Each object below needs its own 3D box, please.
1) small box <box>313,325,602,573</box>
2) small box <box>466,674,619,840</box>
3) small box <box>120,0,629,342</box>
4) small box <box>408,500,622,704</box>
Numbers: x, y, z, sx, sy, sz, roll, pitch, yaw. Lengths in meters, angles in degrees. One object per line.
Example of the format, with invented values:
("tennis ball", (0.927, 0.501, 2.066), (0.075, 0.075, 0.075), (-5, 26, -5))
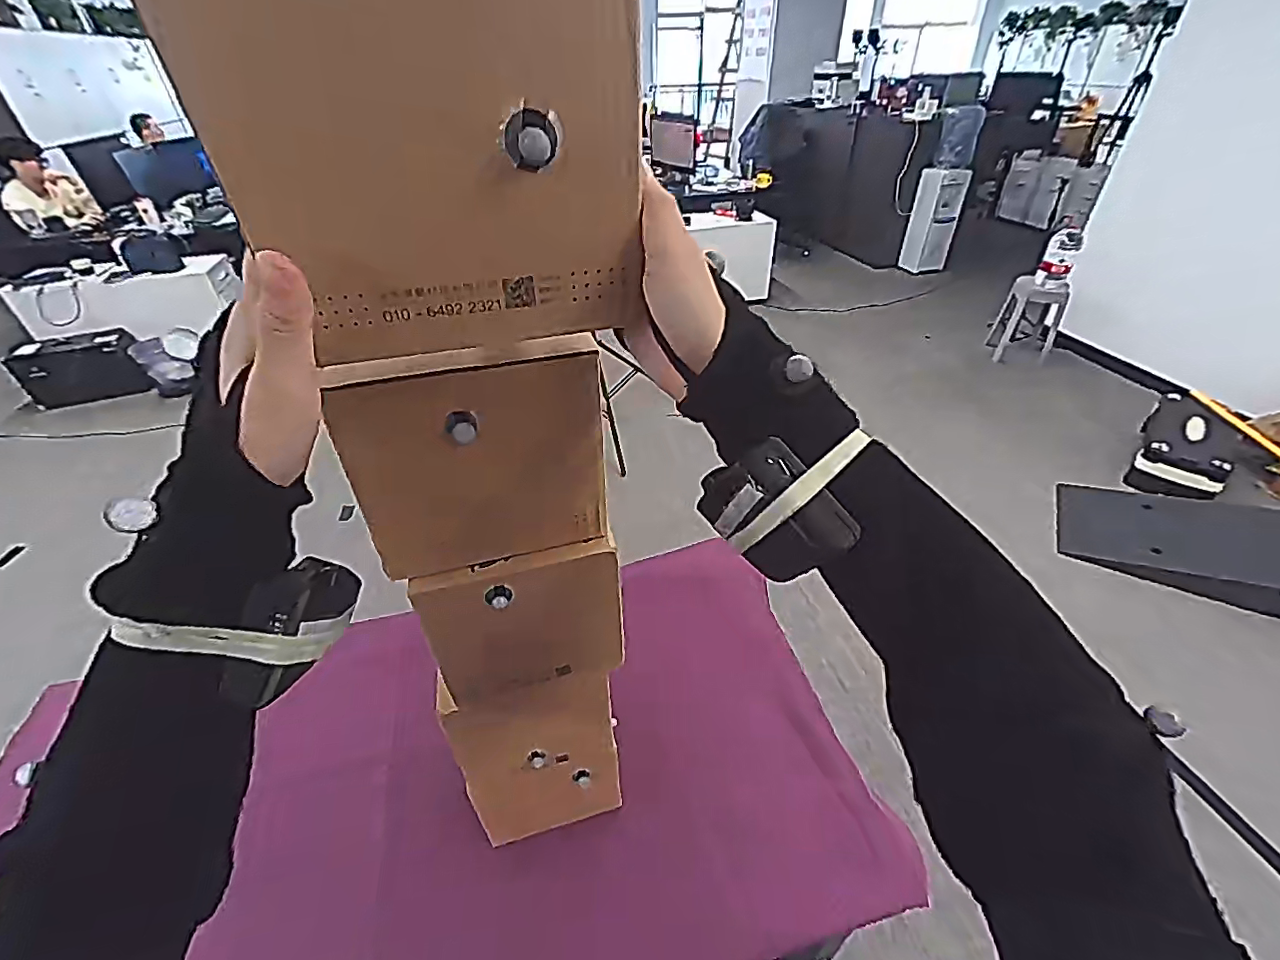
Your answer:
("small box", (-0.132, -0.050, 0.446), (0.179, 0.176, 0.168), (-12, 39, -12))
("small box", (-0.129, 0.348, 0.733), (0.179, 0.176, 0.168), (-12, 38, -12))
("small box", (-0.103, -0.181, 0.274), (0.168, 0.176, 0.179), (-11, 44, -12))
("small box", (-0.118, 0.085, 0.538), (0.168, 0.176, 0.179), (-11, 38, -12))
